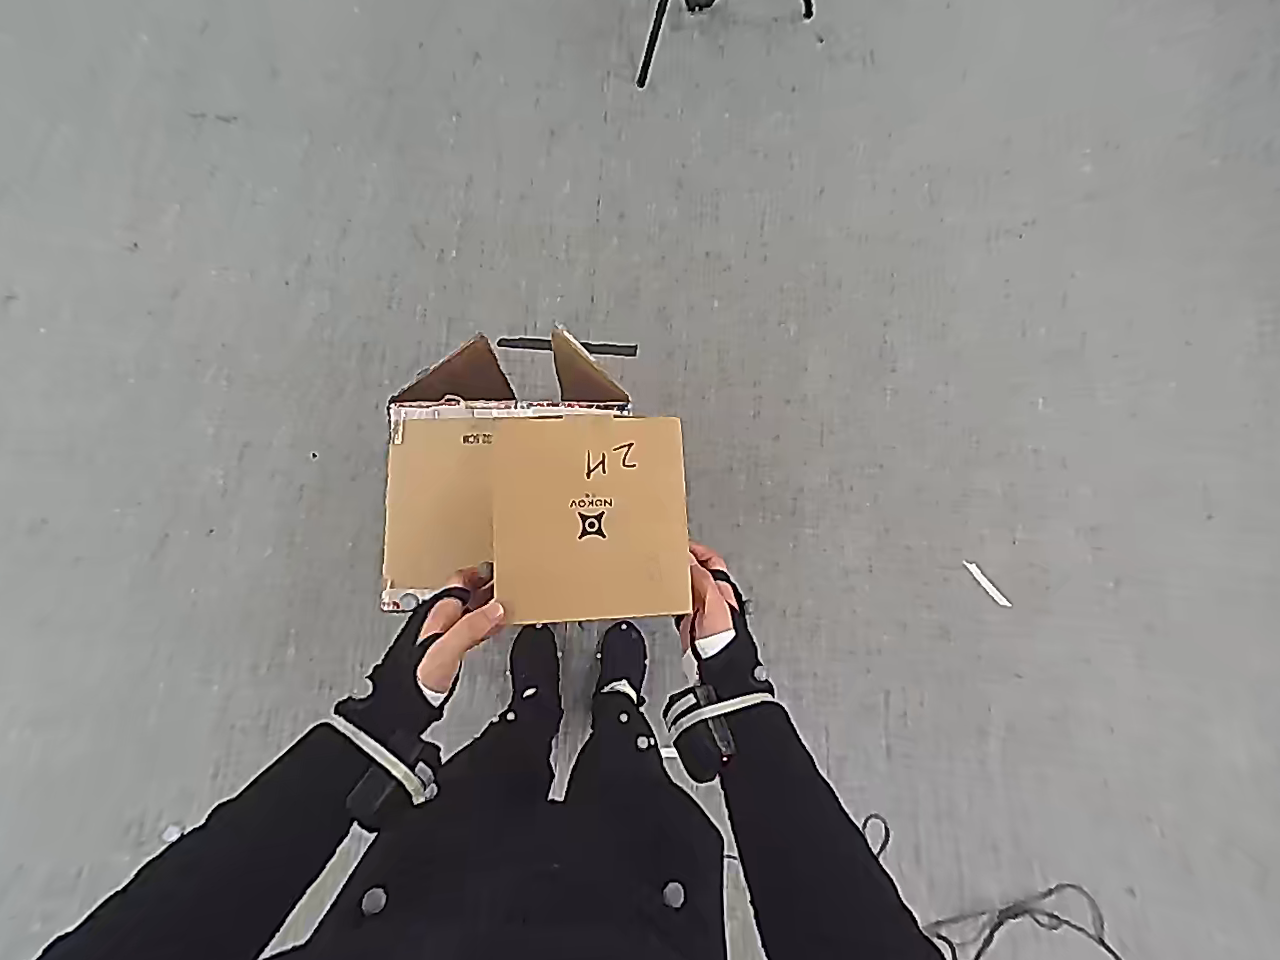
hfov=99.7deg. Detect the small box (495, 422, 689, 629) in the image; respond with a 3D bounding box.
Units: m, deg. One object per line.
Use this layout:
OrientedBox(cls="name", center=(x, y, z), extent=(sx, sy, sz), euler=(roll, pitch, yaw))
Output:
OrientedBox(cls="small box", center=(-0.053, 0.047, 0.543), extent=(0.168, 0.176, 0.179), euler=(-2, 80, -10))
